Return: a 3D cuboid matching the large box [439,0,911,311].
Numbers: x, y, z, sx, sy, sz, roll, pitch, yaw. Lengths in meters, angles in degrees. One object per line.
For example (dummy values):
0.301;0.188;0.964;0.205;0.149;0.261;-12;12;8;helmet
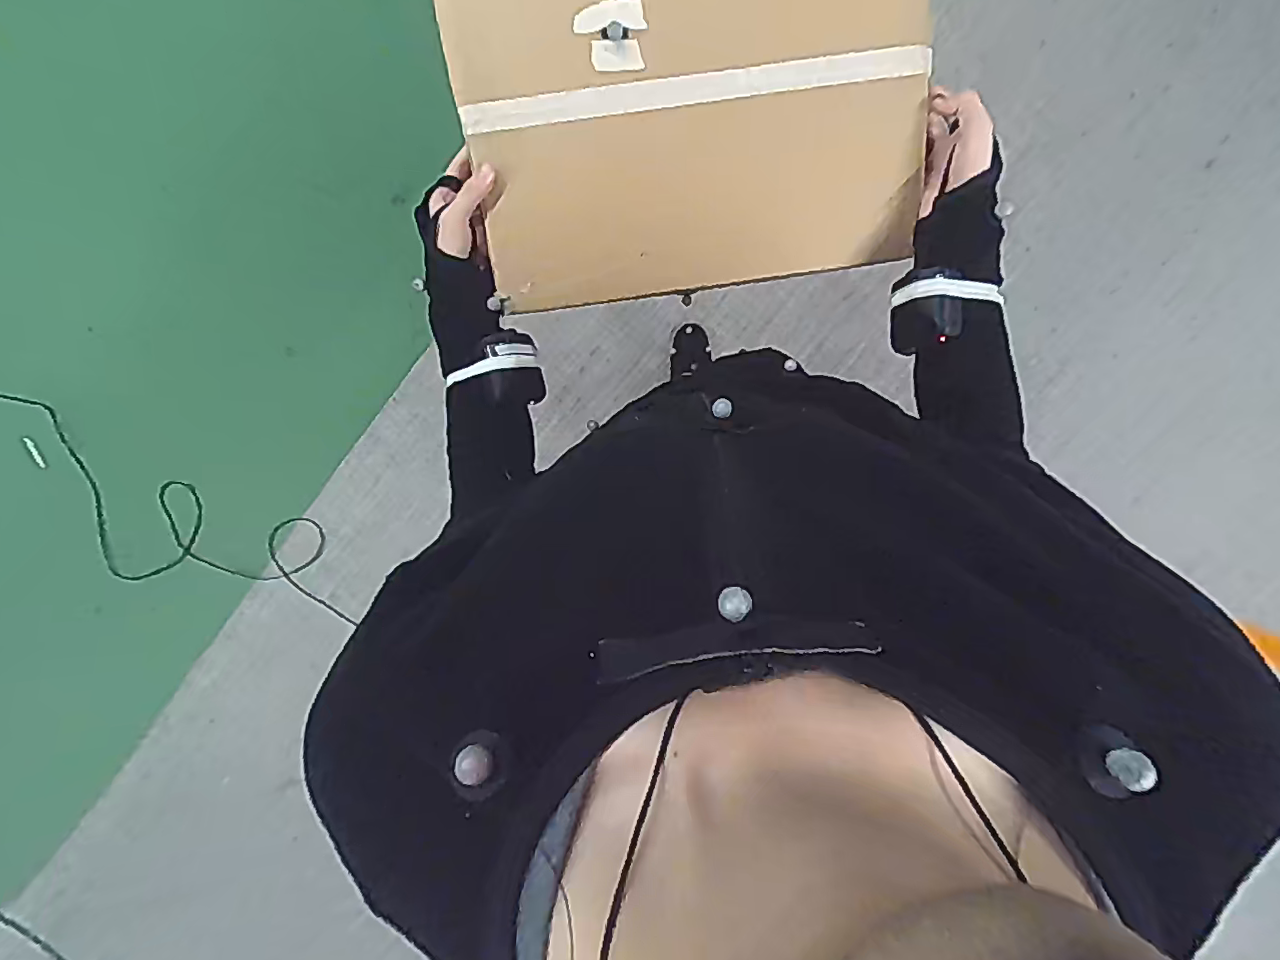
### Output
0.035;-0.387;0.617;0.408;0.320;0.320;-9;108;-2;large box
